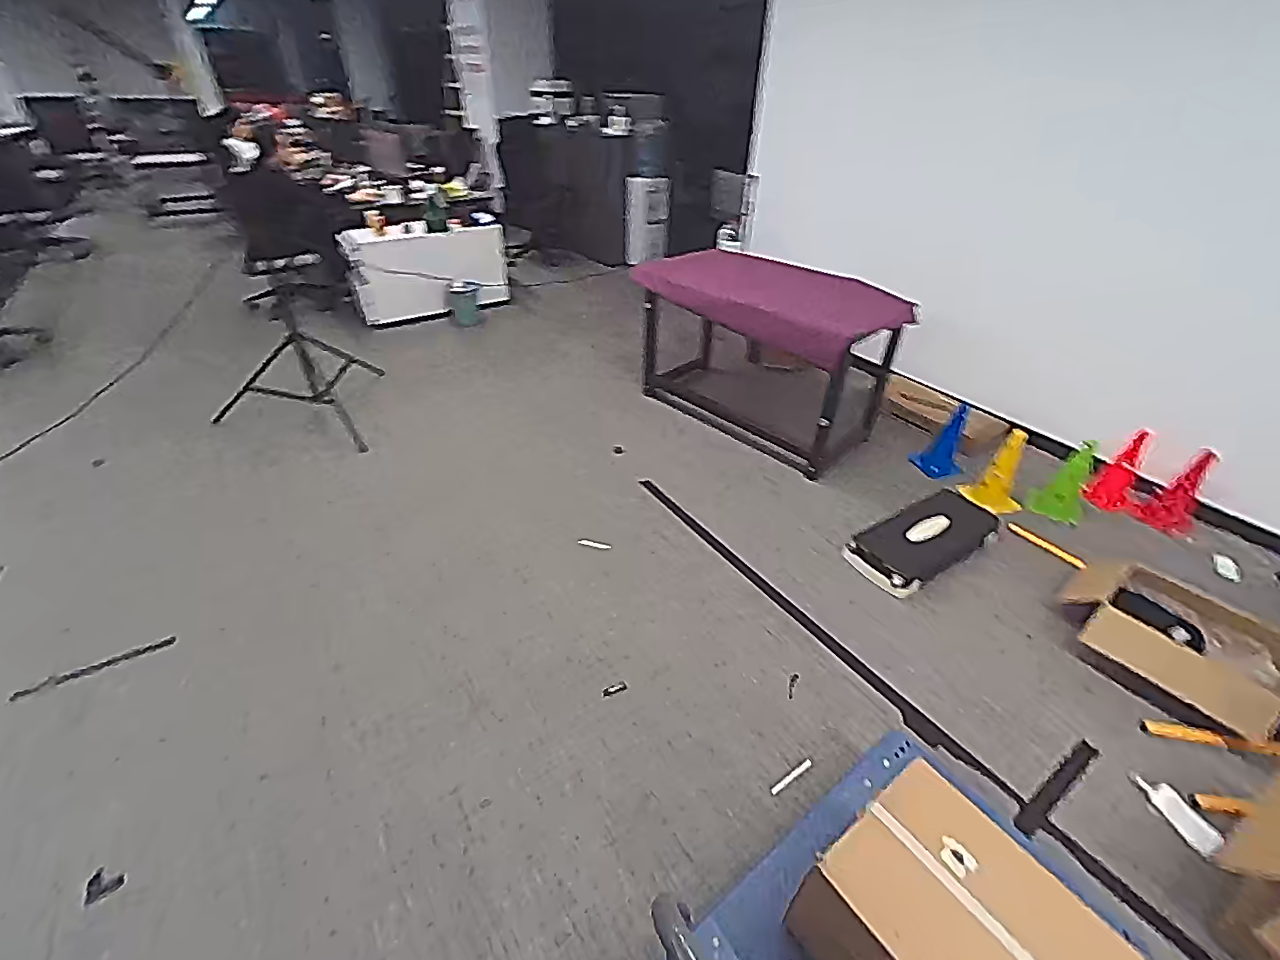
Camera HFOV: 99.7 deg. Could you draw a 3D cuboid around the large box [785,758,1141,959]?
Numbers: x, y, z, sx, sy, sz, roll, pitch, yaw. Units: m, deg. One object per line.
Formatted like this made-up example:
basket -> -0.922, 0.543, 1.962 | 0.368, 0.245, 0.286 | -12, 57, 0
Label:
large box -> 0.530, 0.817, 0.961 | 0.320, 0.320, 0.408 | -22, 42, -29
